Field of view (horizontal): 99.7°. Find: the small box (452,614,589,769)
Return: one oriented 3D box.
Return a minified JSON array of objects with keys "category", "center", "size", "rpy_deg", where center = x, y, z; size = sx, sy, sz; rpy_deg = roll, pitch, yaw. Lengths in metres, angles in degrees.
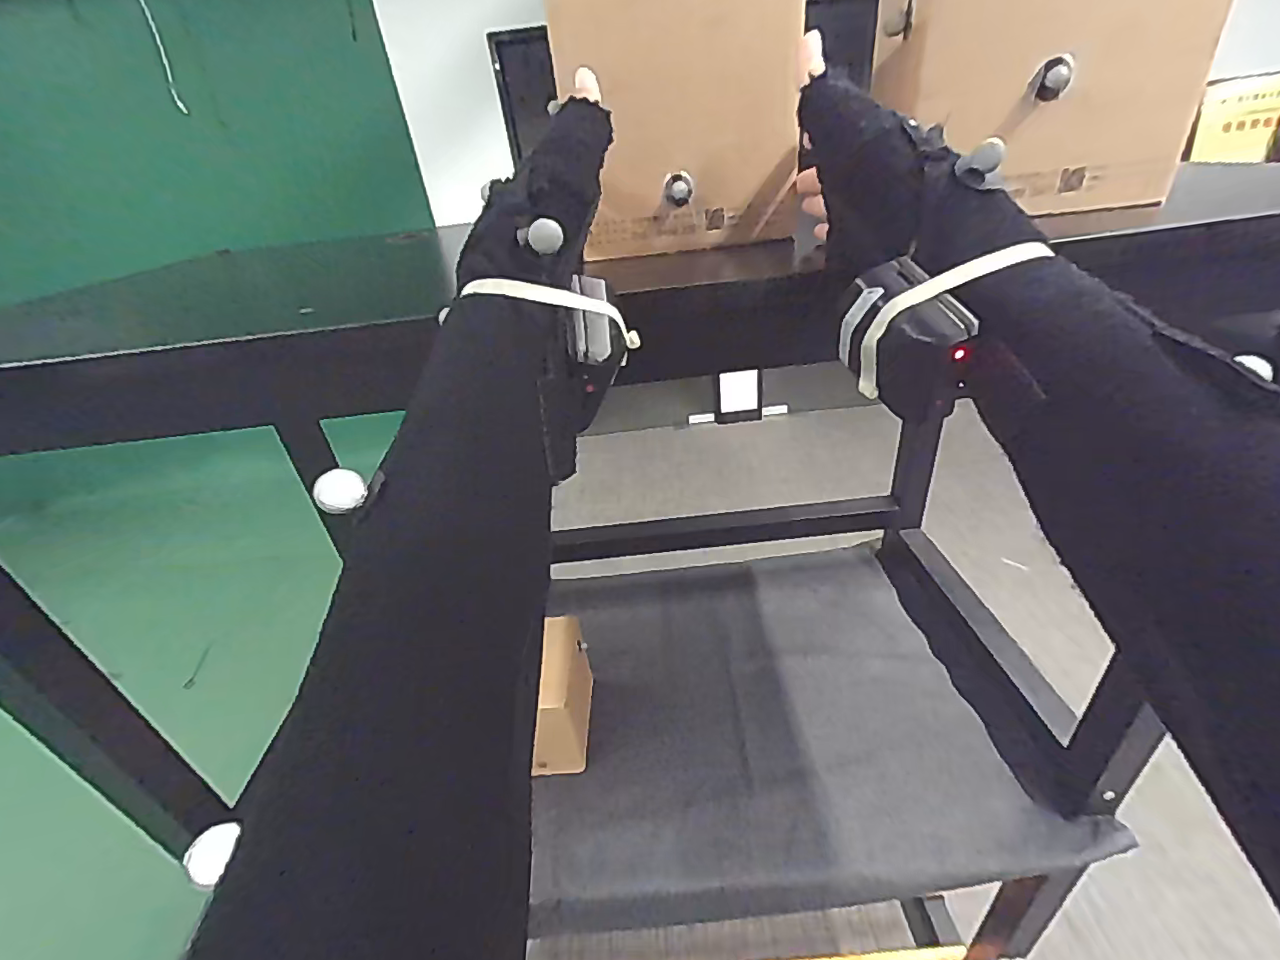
[{"category":"small box","center":[-0.178,0.344,0.874],"size":[0.168,0.176,0.179],"rpy_deg":[-5,31,3]}]

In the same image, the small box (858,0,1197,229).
[{"category":"small box","center":[0.274,-0.297,0.418],"size":[0.168,0.176,0.179],"rpy_deg":[0,31,11]}]
